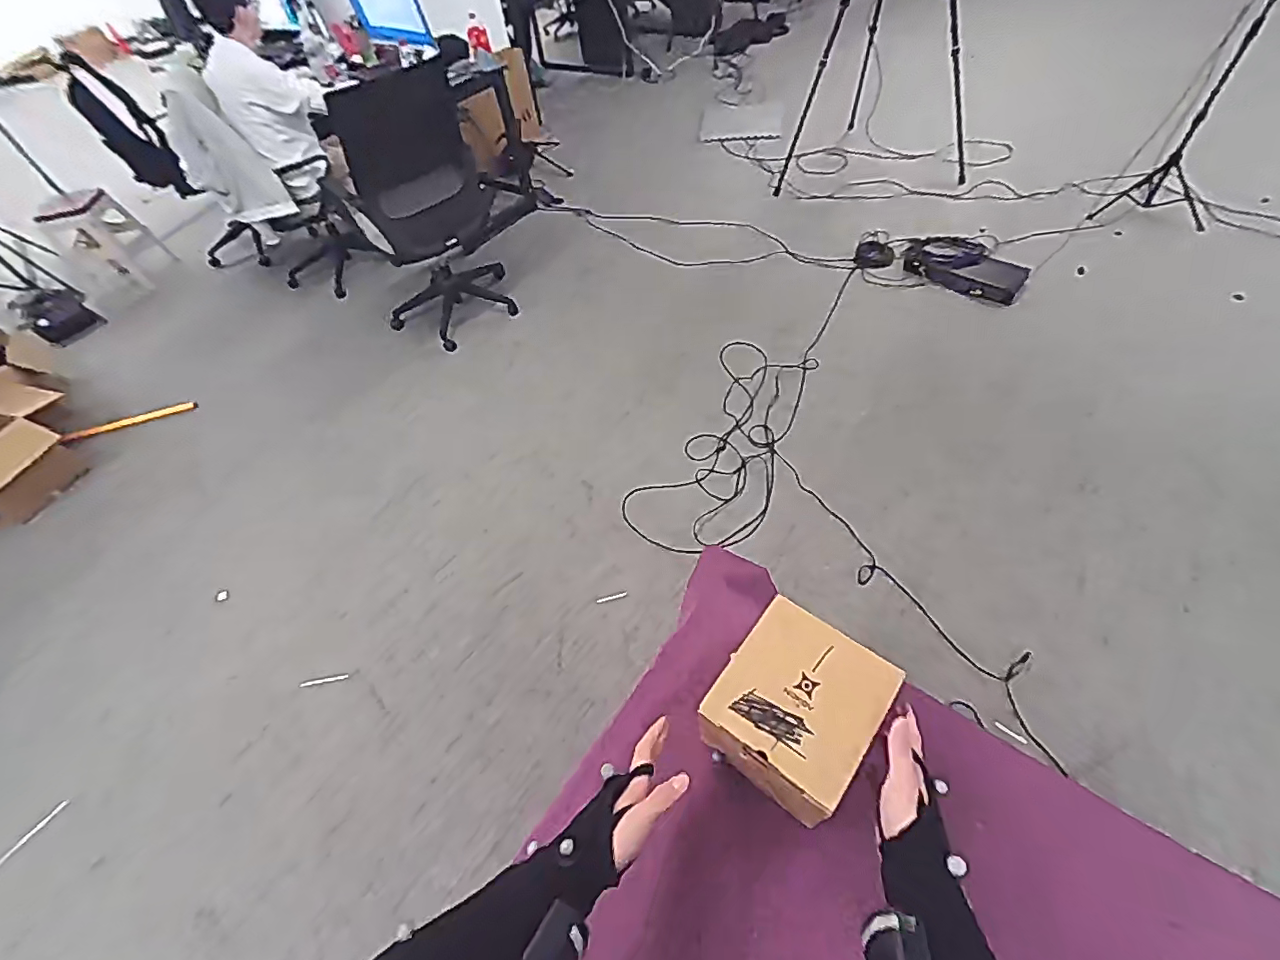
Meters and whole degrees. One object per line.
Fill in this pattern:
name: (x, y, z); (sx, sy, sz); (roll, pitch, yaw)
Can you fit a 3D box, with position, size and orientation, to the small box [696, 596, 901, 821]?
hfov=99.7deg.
small box: (0.188, 0.285, 0.668); (0.168, 0.176, 0.179); (31, 63, 27)
